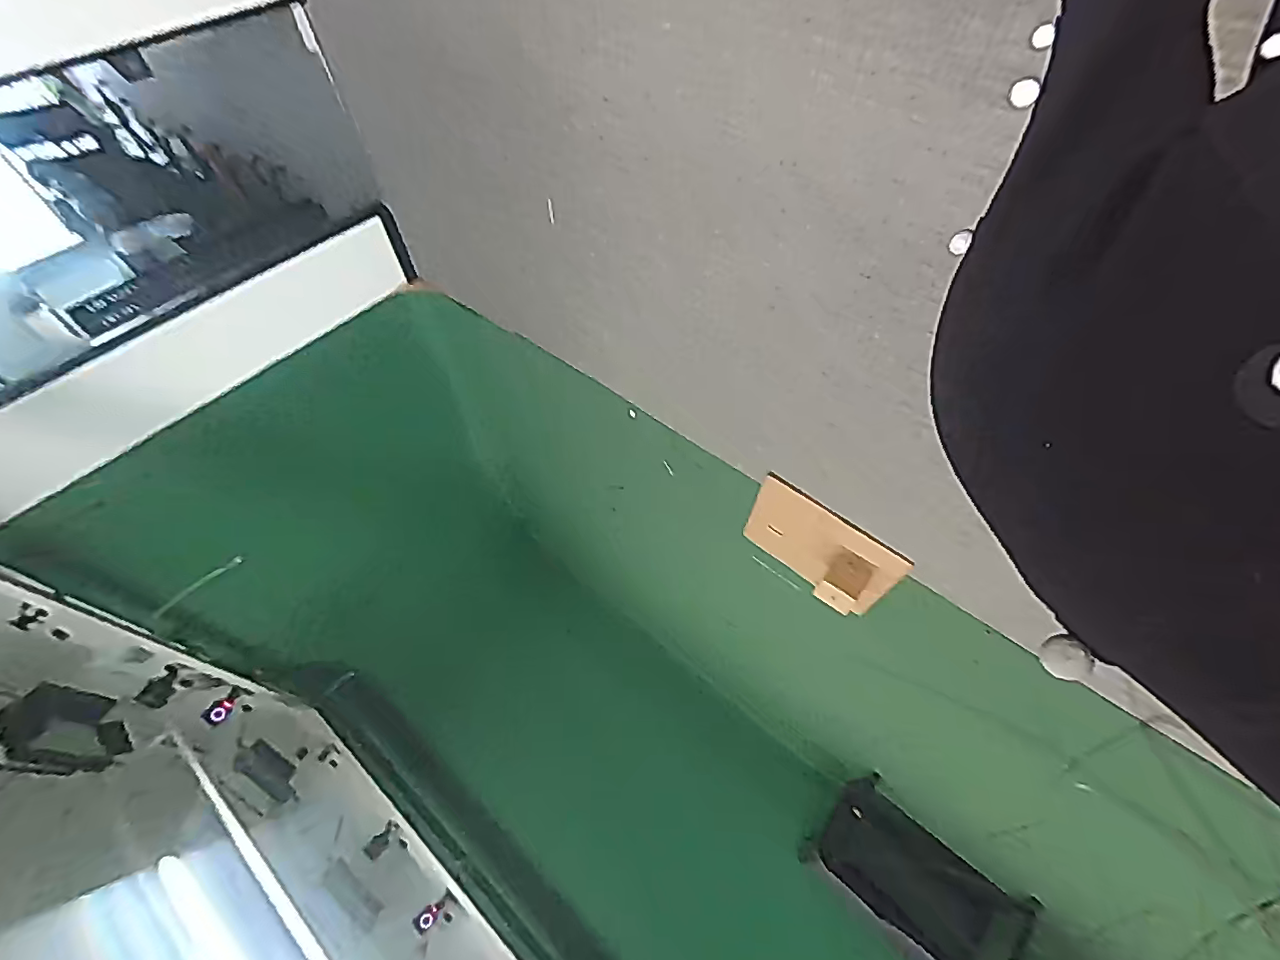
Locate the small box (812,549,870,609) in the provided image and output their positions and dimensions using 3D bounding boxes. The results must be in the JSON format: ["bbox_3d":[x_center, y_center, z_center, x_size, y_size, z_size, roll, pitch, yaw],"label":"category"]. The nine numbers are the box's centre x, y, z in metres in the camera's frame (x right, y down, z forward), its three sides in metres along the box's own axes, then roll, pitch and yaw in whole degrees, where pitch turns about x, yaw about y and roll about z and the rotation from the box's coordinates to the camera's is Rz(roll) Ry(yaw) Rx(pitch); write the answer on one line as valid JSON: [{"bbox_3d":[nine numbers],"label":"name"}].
[{"bbox_3d":[0.912,0.445,2.444,0.168,0.176,0.179,33,152,19],"label":"small box"}]
